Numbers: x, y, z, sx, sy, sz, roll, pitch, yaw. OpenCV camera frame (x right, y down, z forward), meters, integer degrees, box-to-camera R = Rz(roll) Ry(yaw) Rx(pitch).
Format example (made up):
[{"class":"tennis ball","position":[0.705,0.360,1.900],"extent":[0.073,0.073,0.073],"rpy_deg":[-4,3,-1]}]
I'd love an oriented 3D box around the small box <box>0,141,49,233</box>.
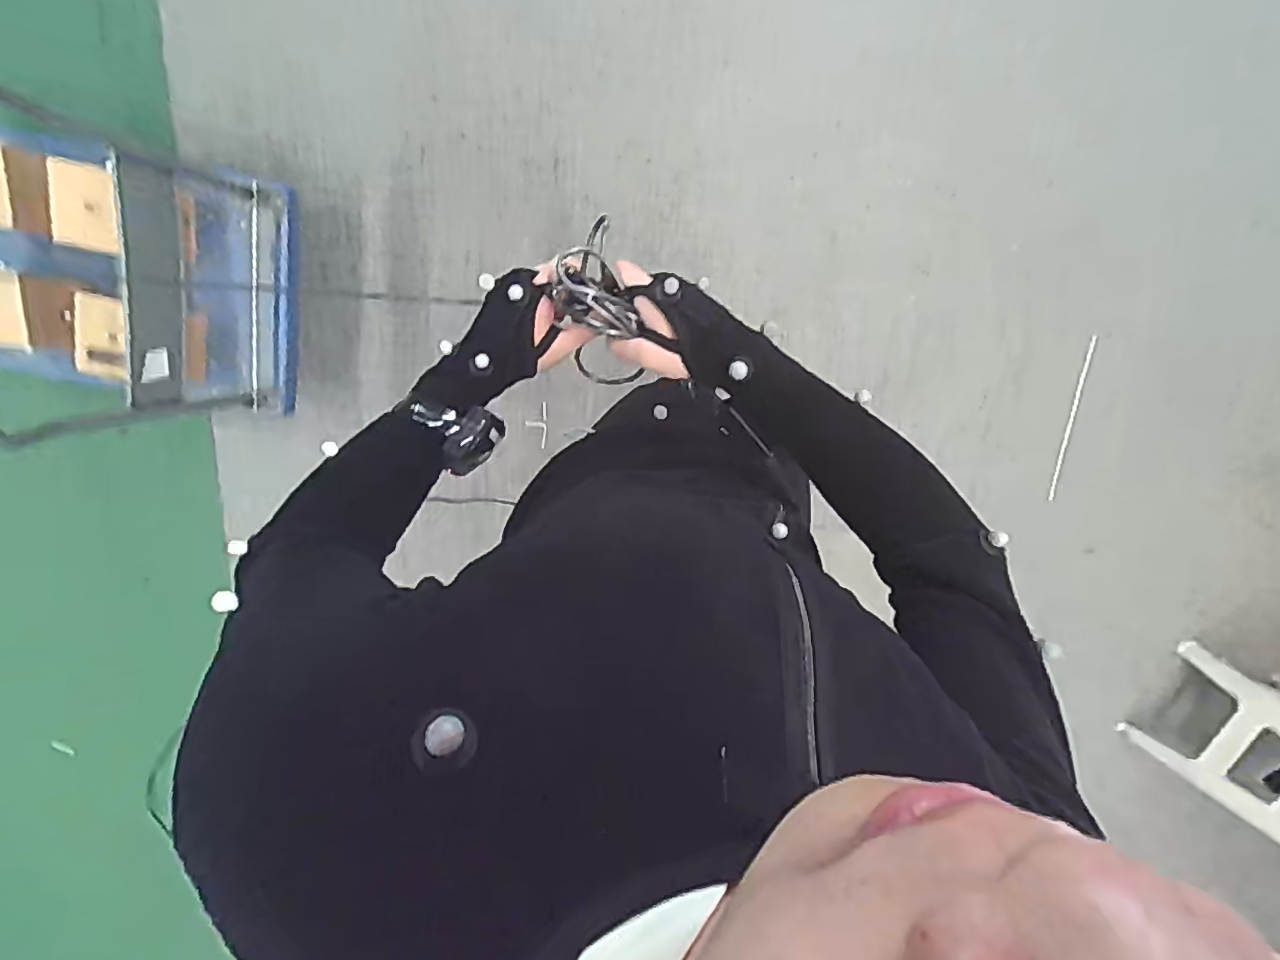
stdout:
[{"class":"small box","position":[-1.410,-0.654,1.203],"extent":[0.179,0.176,0.168],"rpy_deg":[9,105,-3]}]

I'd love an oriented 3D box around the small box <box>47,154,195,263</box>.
[{"class":"small box","position":[-1.159,-0.599,1.216],"extent":[0.179,0.176,0.168],"rpy_deg":[12,104,-3]}]

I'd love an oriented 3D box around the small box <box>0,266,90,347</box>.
[{"class":"small box","position":[-1.451,-0.408,1.268],"extent":[0.179,0.176,0.168],"rpy_deg":[7,104,-1]}]
